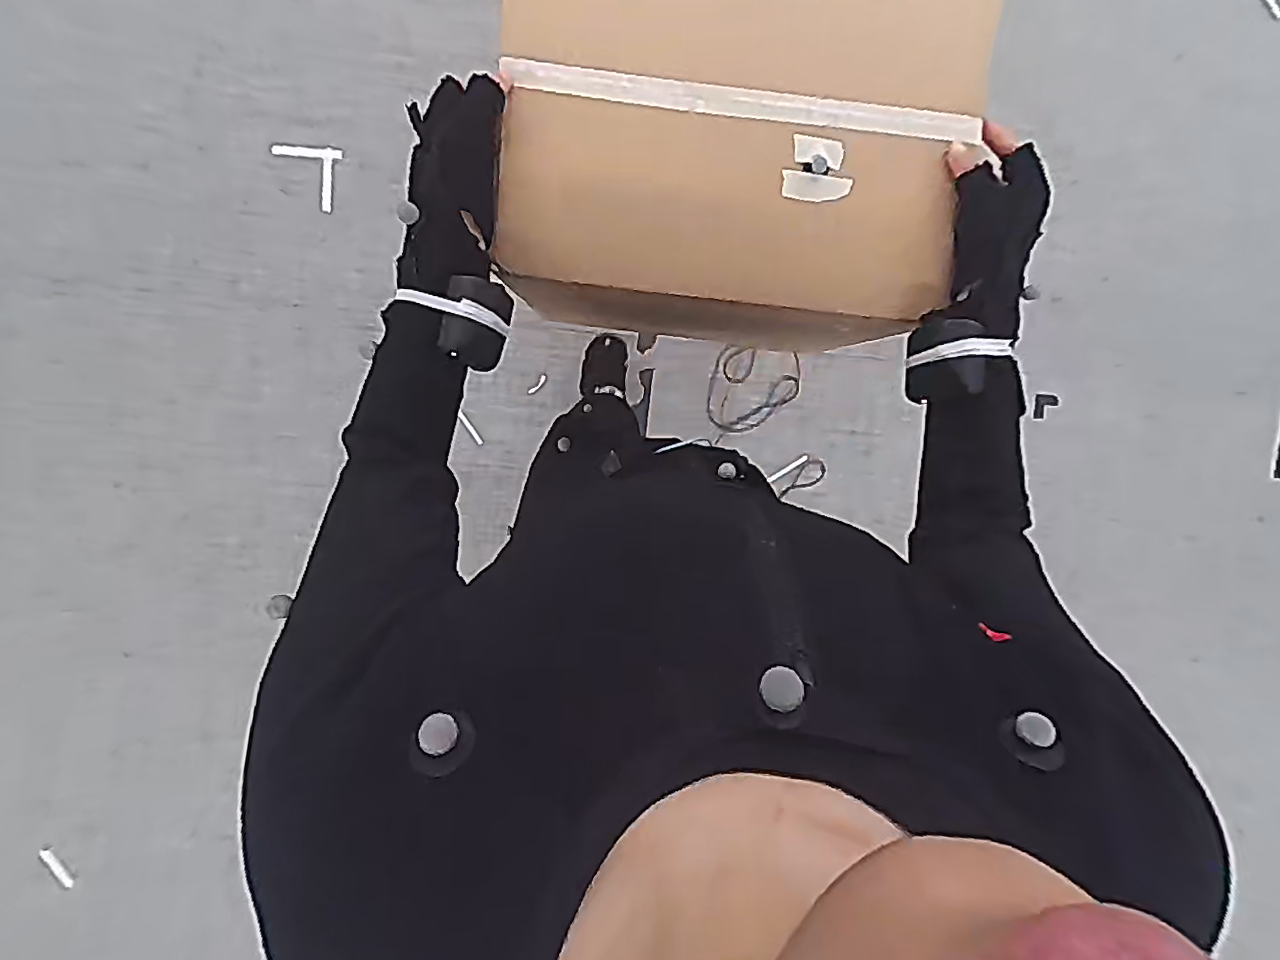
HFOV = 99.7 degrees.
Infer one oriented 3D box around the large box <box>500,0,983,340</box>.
[{"bbox_3d":[0.078,-0.346,0.613,0.408,0.320,0.320,6,100,-3],"label":"large box"}]
